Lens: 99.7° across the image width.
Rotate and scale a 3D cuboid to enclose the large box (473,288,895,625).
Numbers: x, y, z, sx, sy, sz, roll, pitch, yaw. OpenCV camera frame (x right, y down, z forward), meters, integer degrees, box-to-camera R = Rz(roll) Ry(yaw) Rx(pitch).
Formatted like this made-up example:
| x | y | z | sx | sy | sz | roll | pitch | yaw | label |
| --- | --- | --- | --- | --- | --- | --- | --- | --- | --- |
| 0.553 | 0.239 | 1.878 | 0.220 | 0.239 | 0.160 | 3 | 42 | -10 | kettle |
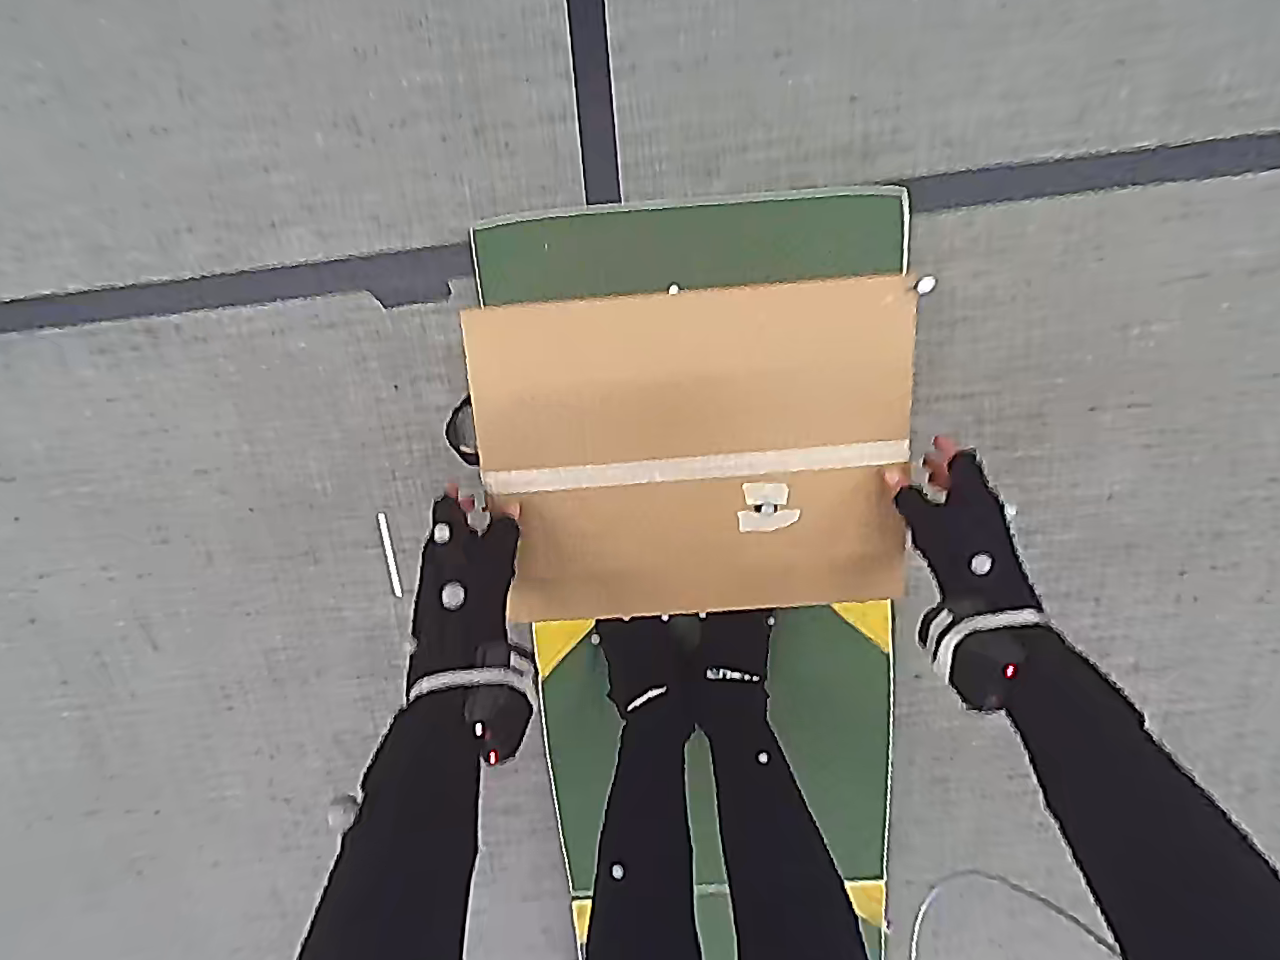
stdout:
| x | y | z | sx | sy | sz | roll | pitch | yaw | label |
| --- | --- | --- | --- | --- | --- | --- | --- | --- | --- |
| 0.051 | -0.045 | 0.682 | 0.408 | 0.320 | 0.320 | -5 | 104 | 1 | large box |
